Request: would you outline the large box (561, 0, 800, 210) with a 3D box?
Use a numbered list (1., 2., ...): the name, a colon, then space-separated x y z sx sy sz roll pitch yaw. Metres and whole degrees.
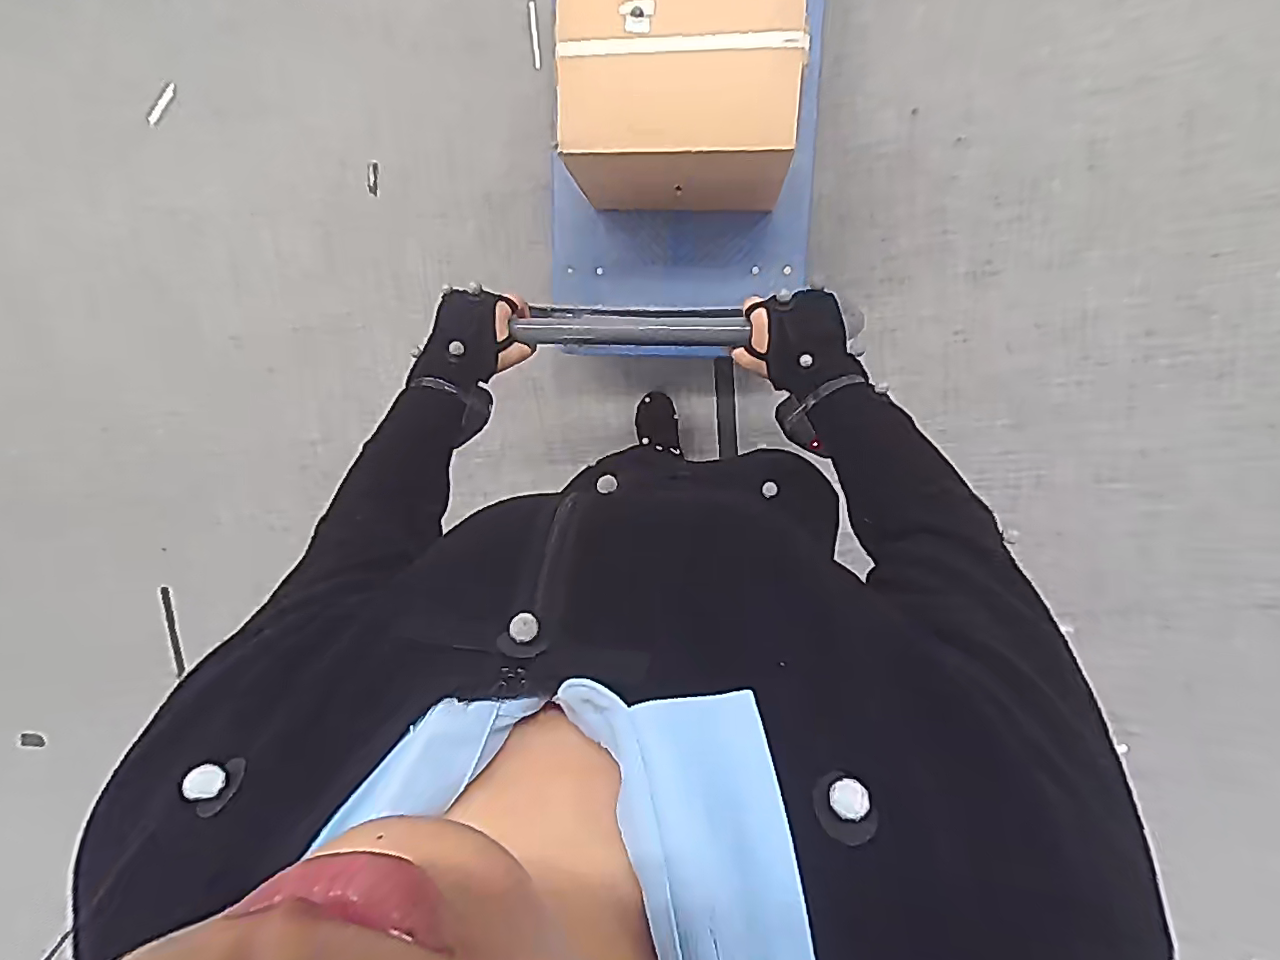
1. large box: 0.083 -0.735 1.048 0.408 0.320 0.320 3 99 8
